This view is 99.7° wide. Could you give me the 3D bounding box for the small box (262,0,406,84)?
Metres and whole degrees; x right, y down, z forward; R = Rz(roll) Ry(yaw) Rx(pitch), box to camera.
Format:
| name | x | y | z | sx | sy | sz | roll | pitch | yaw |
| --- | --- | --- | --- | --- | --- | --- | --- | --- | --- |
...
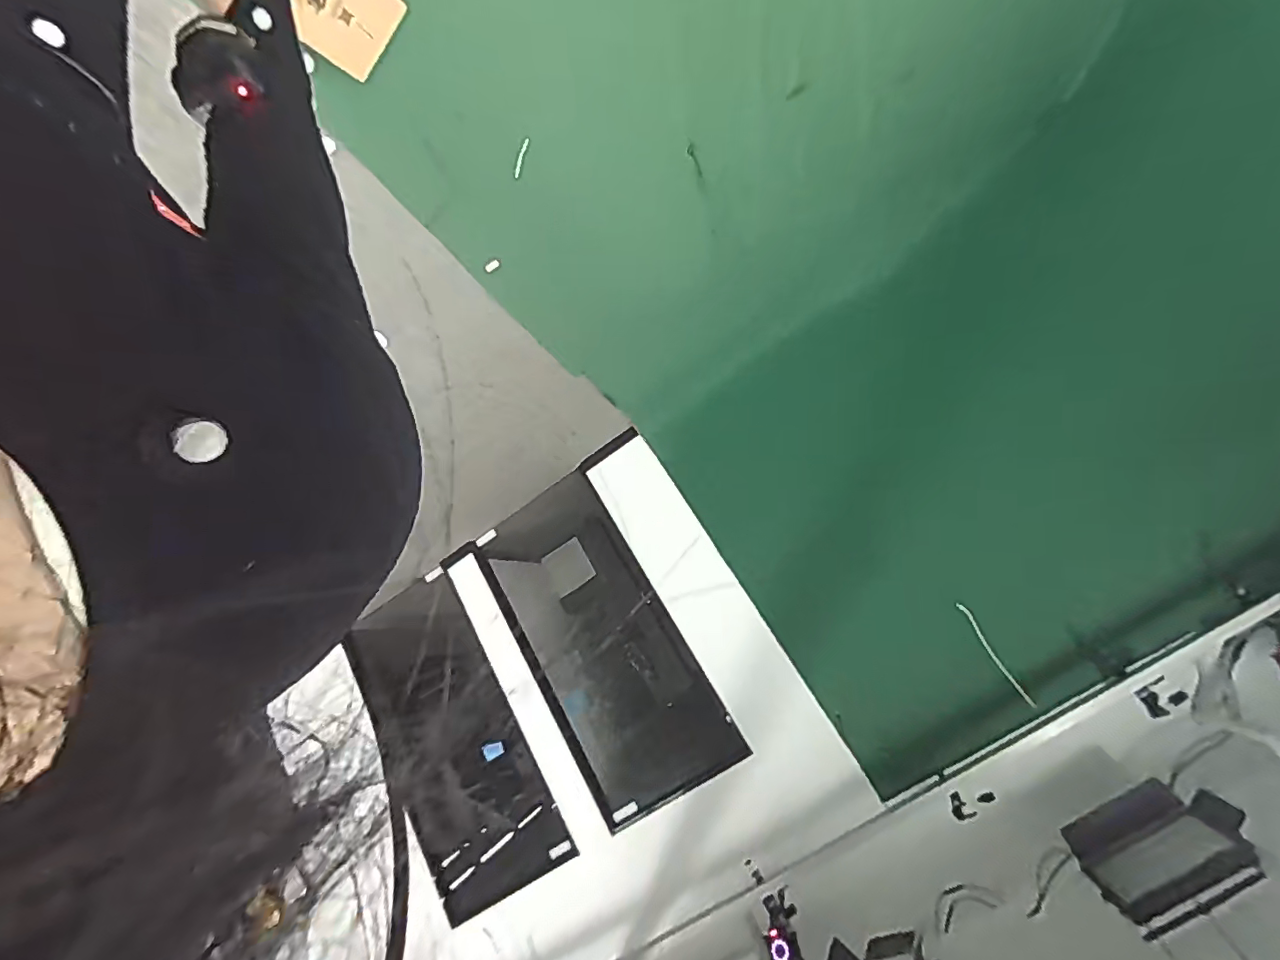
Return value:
| name | x | y | z | sx | sy | sz | roll | pitch | yaw |
| --- | --- | --- | --- | --- | --- | --- | --- | --- | --- |
| small box | -0.571 | -0.887 | 0.976 | 0.168 | 0.176 | 0.179 | -39 | 162 | 22 |
